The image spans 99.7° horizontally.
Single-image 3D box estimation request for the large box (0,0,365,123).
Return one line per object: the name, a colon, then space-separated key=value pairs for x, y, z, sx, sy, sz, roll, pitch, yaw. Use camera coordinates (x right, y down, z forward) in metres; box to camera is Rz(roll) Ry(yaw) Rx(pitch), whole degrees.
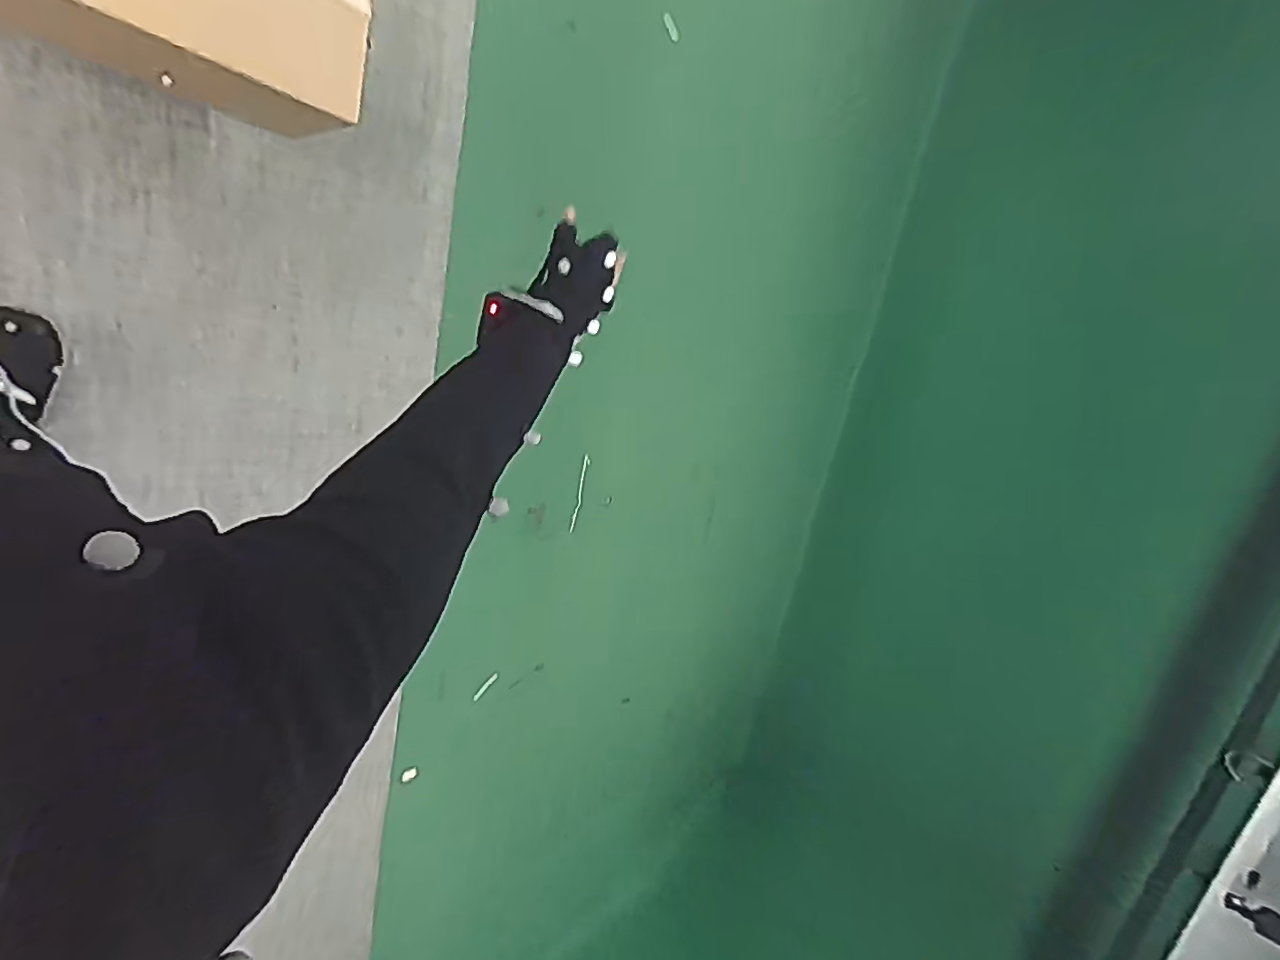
large box: x=-0.642 y=-0.750 z=0.743 sx=0.408 sy=0.320 sz=0.320 roll=-3 pitch=110 yaw=-49
